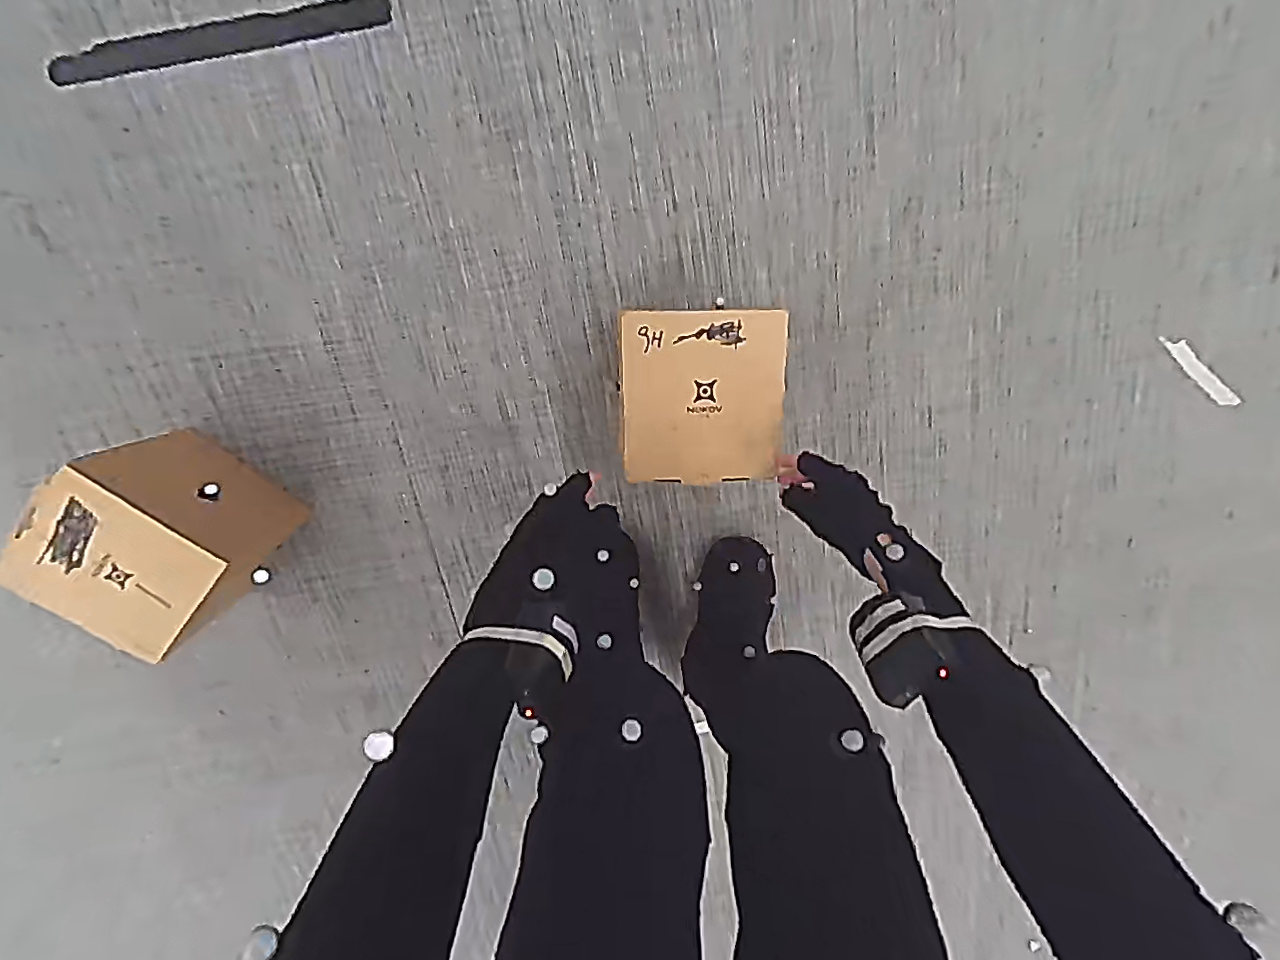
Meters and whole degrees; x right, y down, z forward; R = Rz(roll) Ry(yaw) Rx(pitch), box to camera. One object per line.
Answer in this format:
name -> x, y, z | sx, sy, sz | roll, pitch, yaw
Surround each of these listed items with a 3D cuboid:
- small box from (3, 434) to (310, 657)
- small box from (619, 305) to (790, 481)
small box -> -0.547, 0.063, 0.640 | 0.179, 0.176, 0.168 | 39, 102, -14
small box -> 0.061, -0.108, 0.624 | 0.168, 0.176, 0.179 | -1, 108, -3
